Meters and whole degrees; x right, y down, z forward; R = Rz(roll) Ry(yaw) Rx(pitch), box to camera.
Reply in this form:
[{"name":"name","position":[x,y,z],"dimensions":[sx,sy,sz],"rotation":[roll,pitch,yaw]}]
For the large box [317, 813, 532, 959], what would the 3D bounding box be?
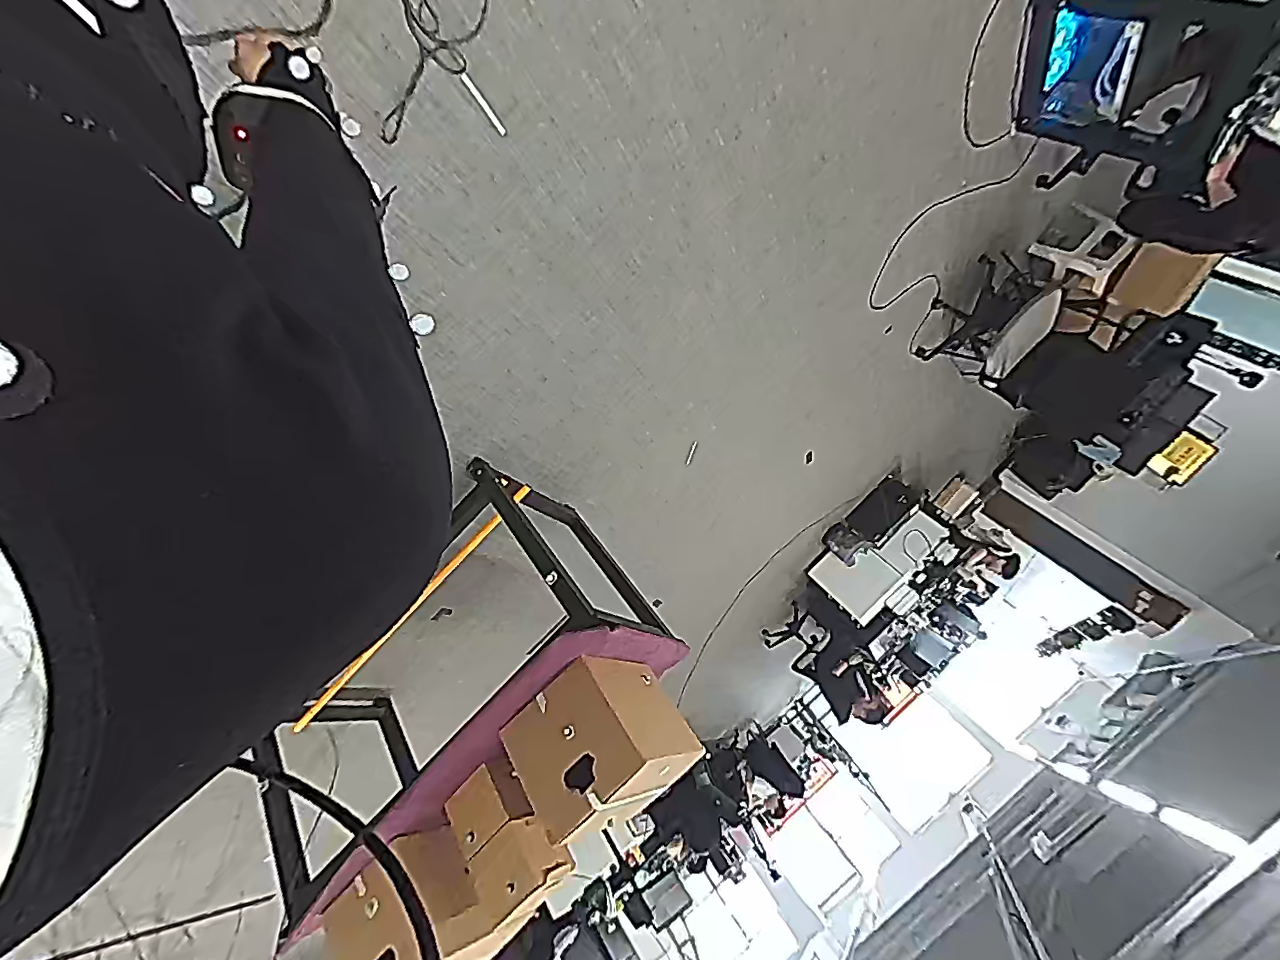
[{"name":"large box","position":[-0.593,1.210,1.514],"dimensions":[0.320,0.320,0.408],"rotation":[-46,148,3]}]
